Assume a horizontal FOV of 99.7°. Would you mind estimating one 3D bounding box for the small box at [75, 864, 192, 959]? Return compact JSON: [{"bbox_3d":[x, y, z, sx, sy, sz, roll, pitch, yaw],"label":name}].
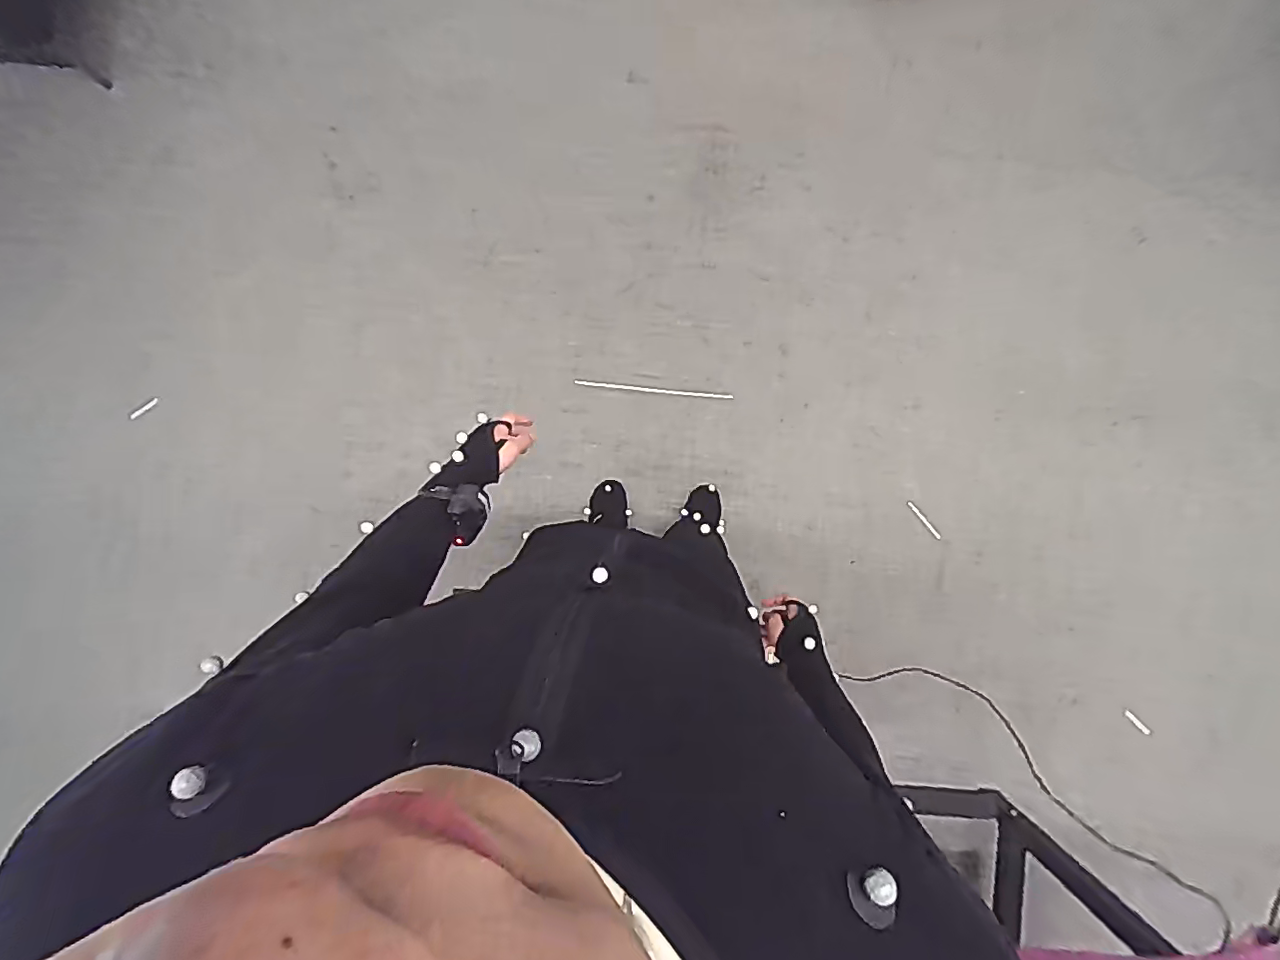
[{"bbox_3d":[-1.455,1.252,1.562,0.179,0.176,0.168,5,90,0],"label":"small box"}]
